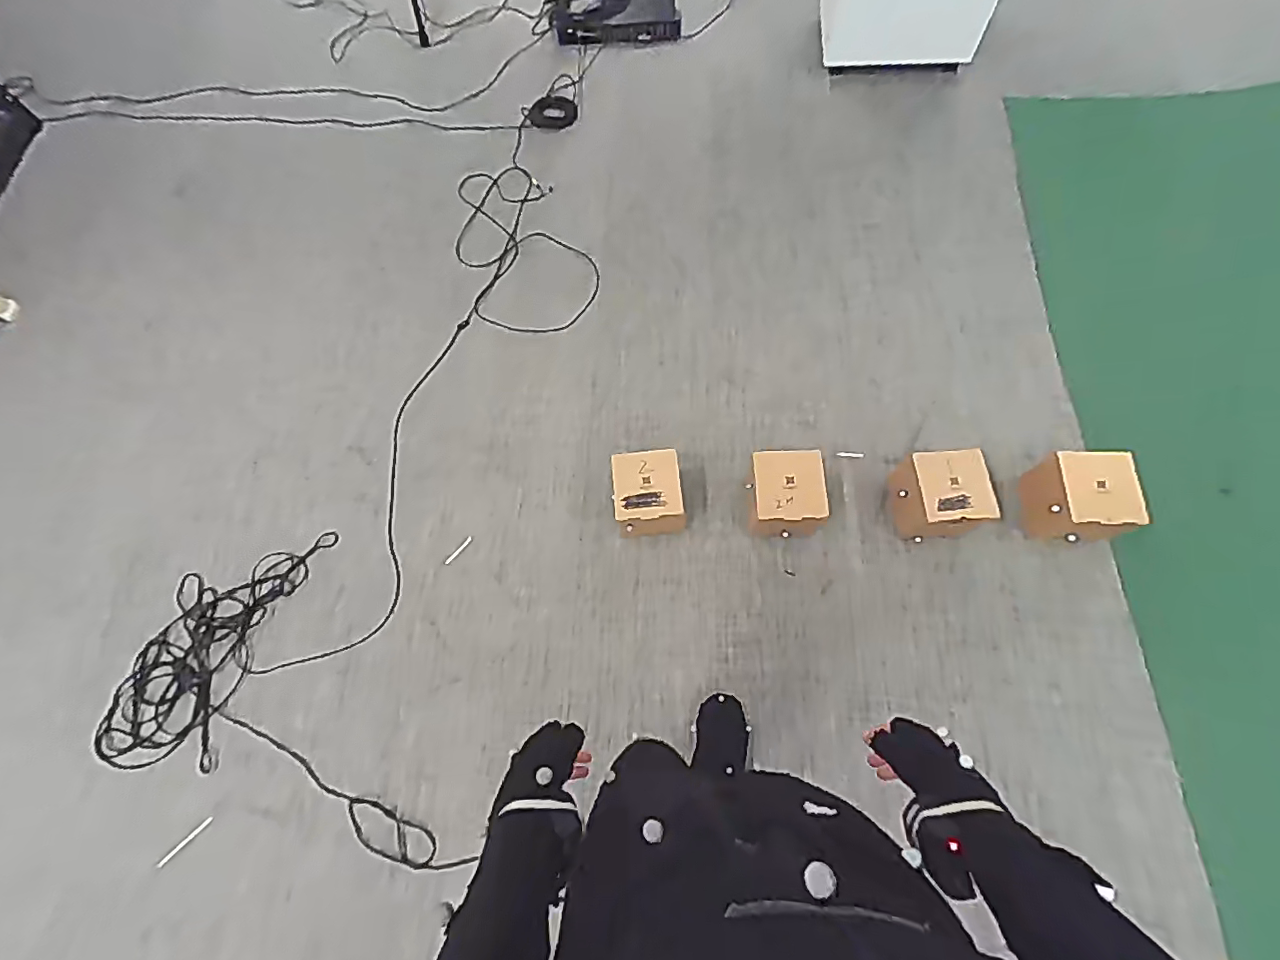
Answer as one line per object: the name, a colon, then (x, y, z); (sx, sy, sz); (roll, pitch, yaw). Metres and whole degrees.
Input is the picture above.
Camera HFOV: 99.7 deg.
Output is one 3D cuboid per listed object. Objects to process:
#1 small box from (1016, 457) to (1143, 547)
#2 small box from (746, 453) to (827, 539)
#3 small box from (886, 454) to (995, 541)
small box: (1.061, 0.057, 1.326); (0.168, 0.176, 0.179); (2, 69, 5)
small box: (0.364, 0.045, 1.372); (0.168, 0.176, 0.179); (-1, 70, 5)
small box: (0.738, 0.051, 1.348); (0.168, 0.176, 0.179); (-3, 68, 2)
